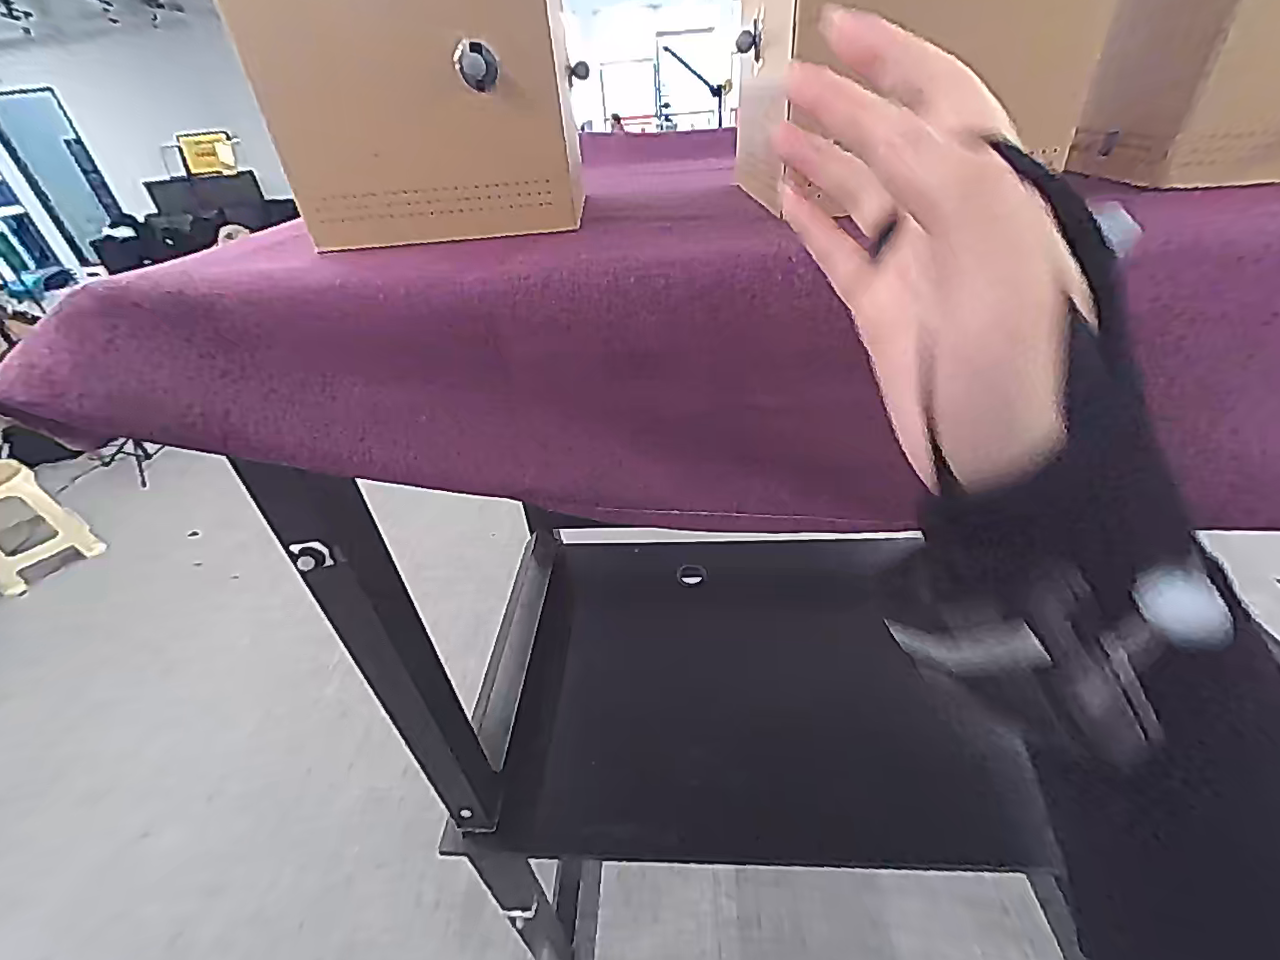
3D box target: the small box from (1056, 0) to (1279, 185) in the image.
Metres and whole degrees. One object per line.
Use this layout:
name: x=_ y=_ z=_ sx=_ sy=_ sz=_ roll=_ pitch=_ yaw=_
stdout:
small box: x=0.391 y=-0.284 z=0.323 sx=0.179 sy=0.176 sz=0.168 roll=1 pitch=35 yaw=7

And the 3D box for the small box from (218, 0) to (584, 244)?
small box: x=-0.135 y=-0.270 z=0.368 sx=0.179 sy=0.176 sz=0.168 roll=-5 pitch=35 yaw=0

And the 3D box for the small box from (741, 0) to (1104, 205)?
small box: x=0.160 y=-0.280 z=0.345 sx=0.168 sy=0.176 sz=0.179 roll=-4 pitch=35 yaw=2
